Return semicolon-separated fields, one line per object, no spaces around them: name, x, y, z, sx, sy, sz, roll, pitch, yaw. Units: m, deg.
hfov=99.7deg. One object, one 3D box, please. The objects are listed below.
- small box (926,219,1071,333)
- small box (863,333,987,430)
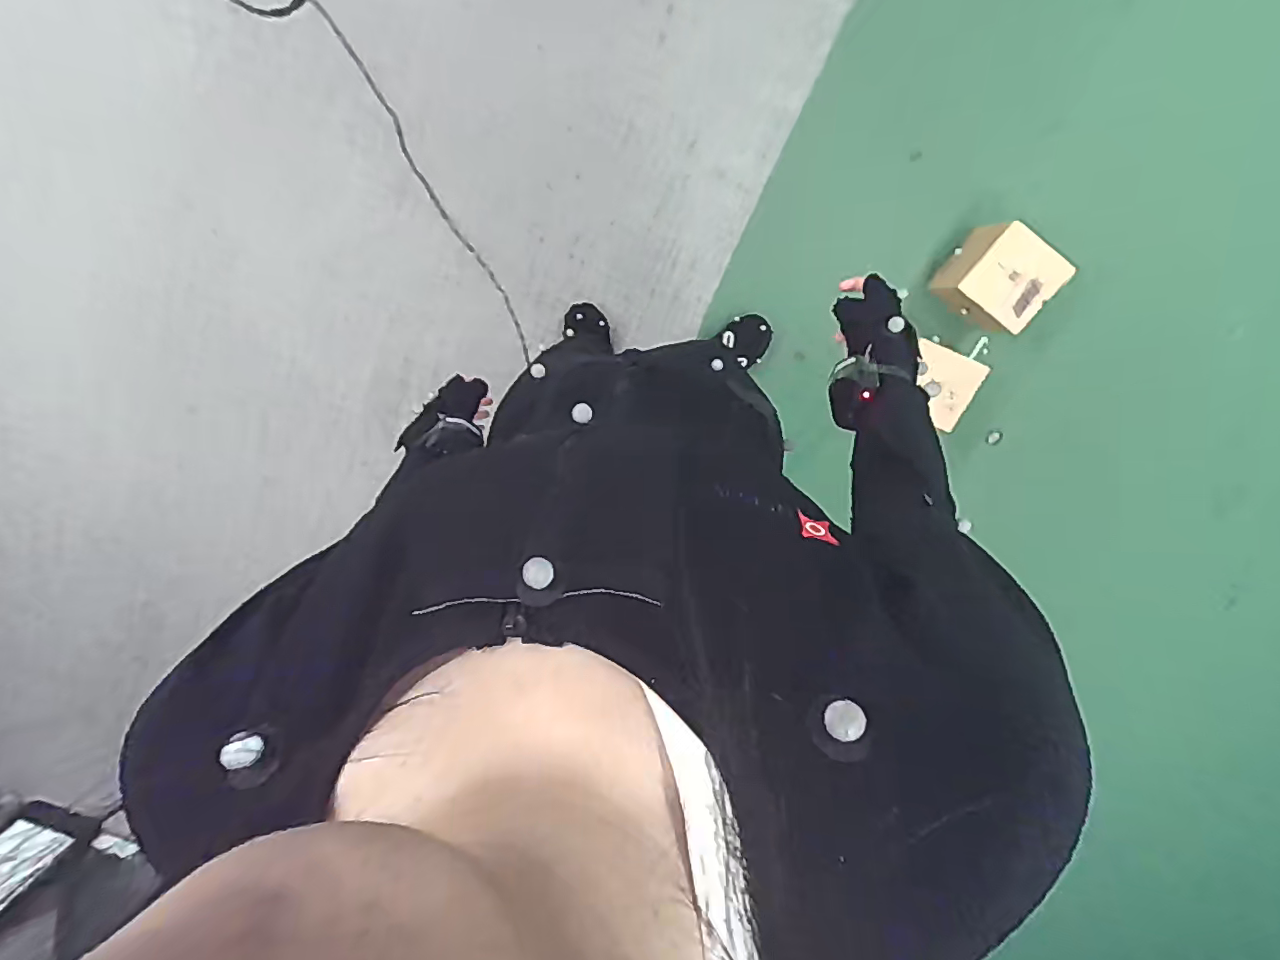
small box;0.795;-0.456;1.221;0.179;0.176;0.168;35;107;-7
small box;0.672;-0.244;1.302;0.179;0.176;0.168;23;110;-5
